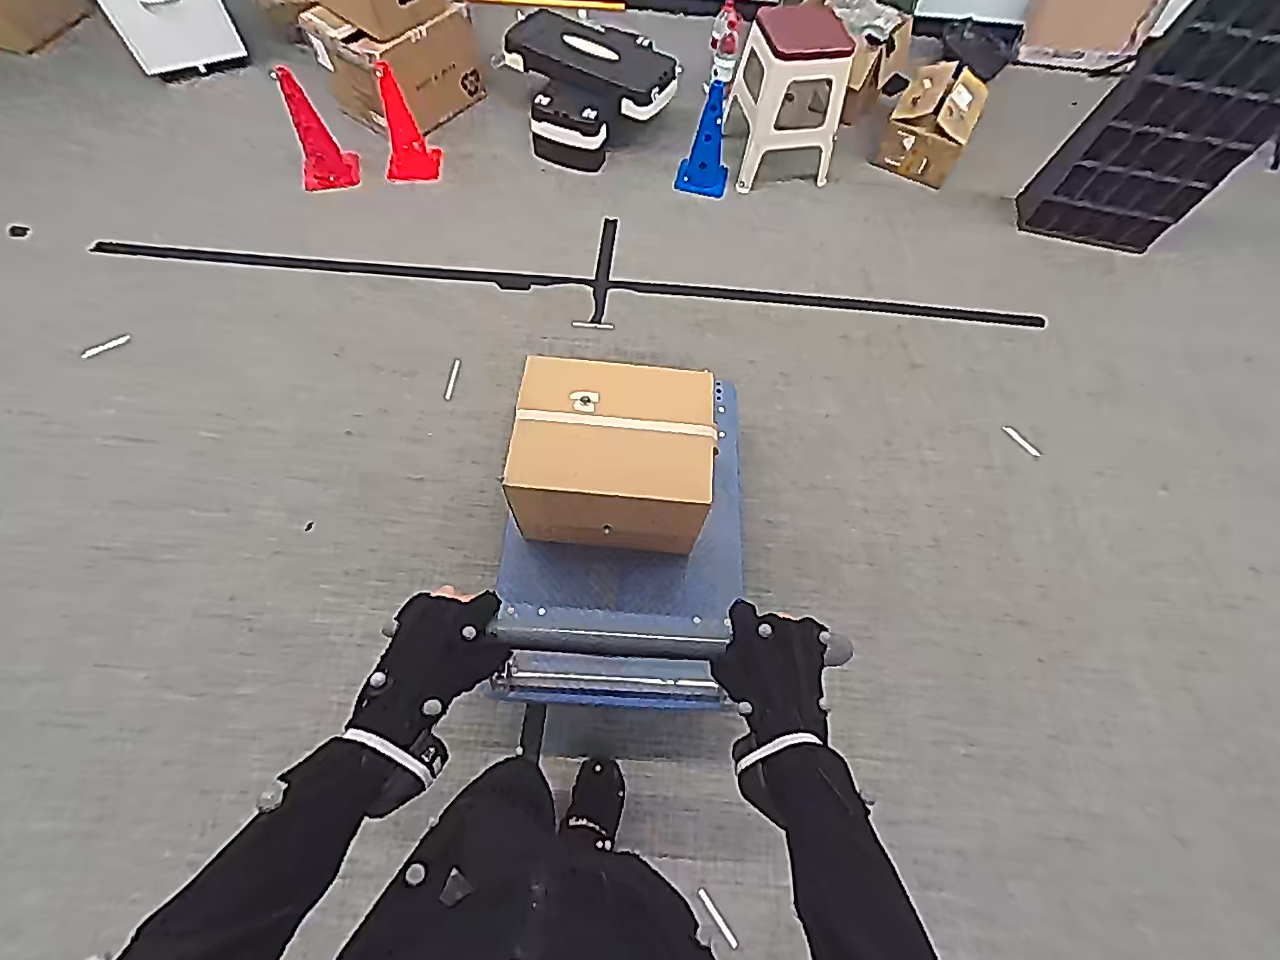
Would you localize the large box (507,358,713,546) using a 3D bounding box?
[{"bbox_3d":[-0.055,-0.049,1.239,0.408,0.320,0.320,5,64,0],"label":"large box"}]
